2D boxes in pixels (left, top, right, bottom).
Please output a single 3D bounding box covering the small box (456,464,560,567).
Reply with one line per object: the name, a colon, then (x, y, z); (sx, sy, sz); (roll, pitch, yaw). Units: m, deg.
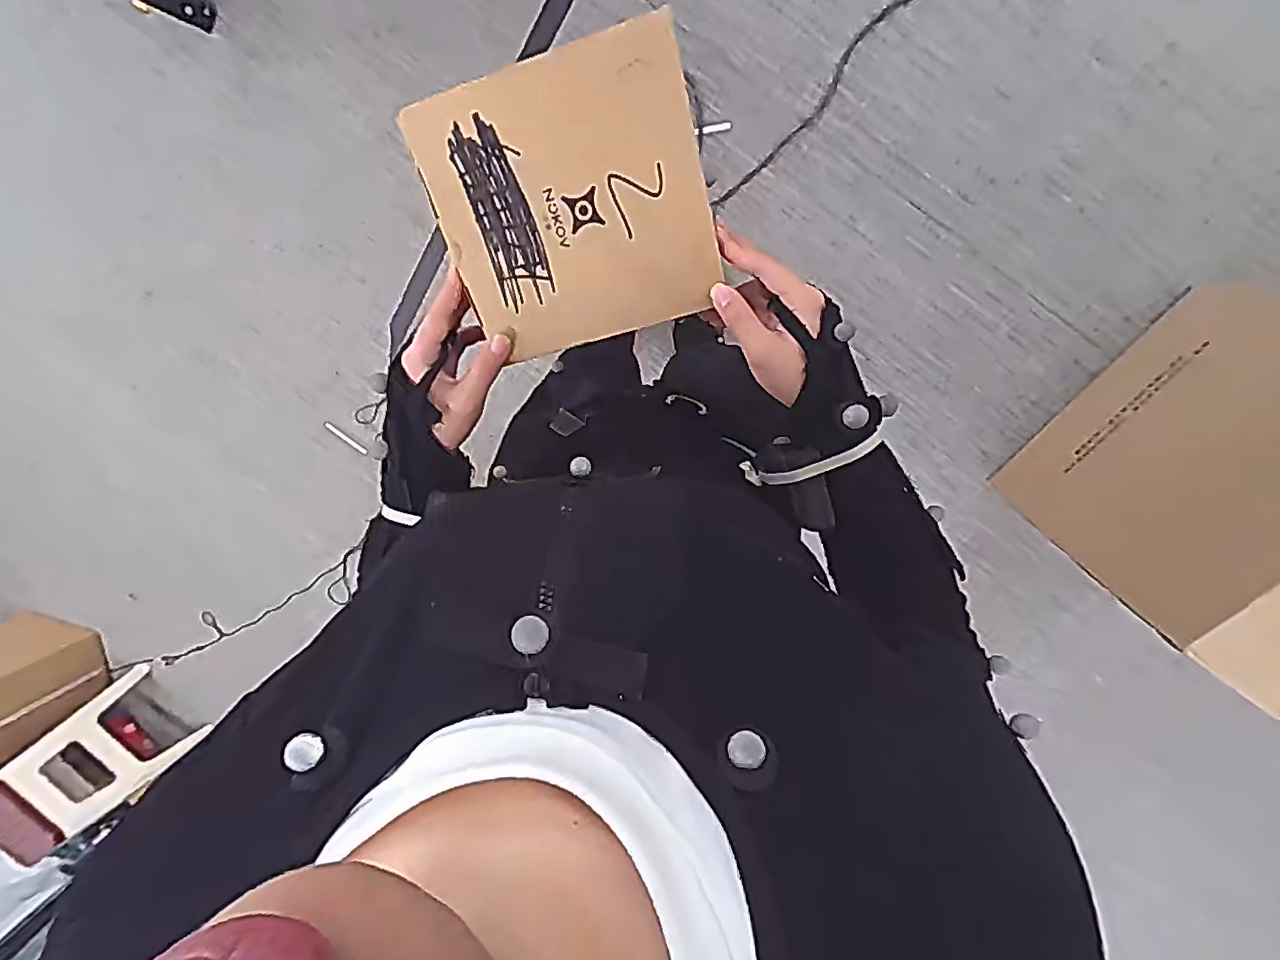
small box: (-0.333, 0.087, 1.405); (0.168, 0.176, 0.179); (43, 110, -7)
